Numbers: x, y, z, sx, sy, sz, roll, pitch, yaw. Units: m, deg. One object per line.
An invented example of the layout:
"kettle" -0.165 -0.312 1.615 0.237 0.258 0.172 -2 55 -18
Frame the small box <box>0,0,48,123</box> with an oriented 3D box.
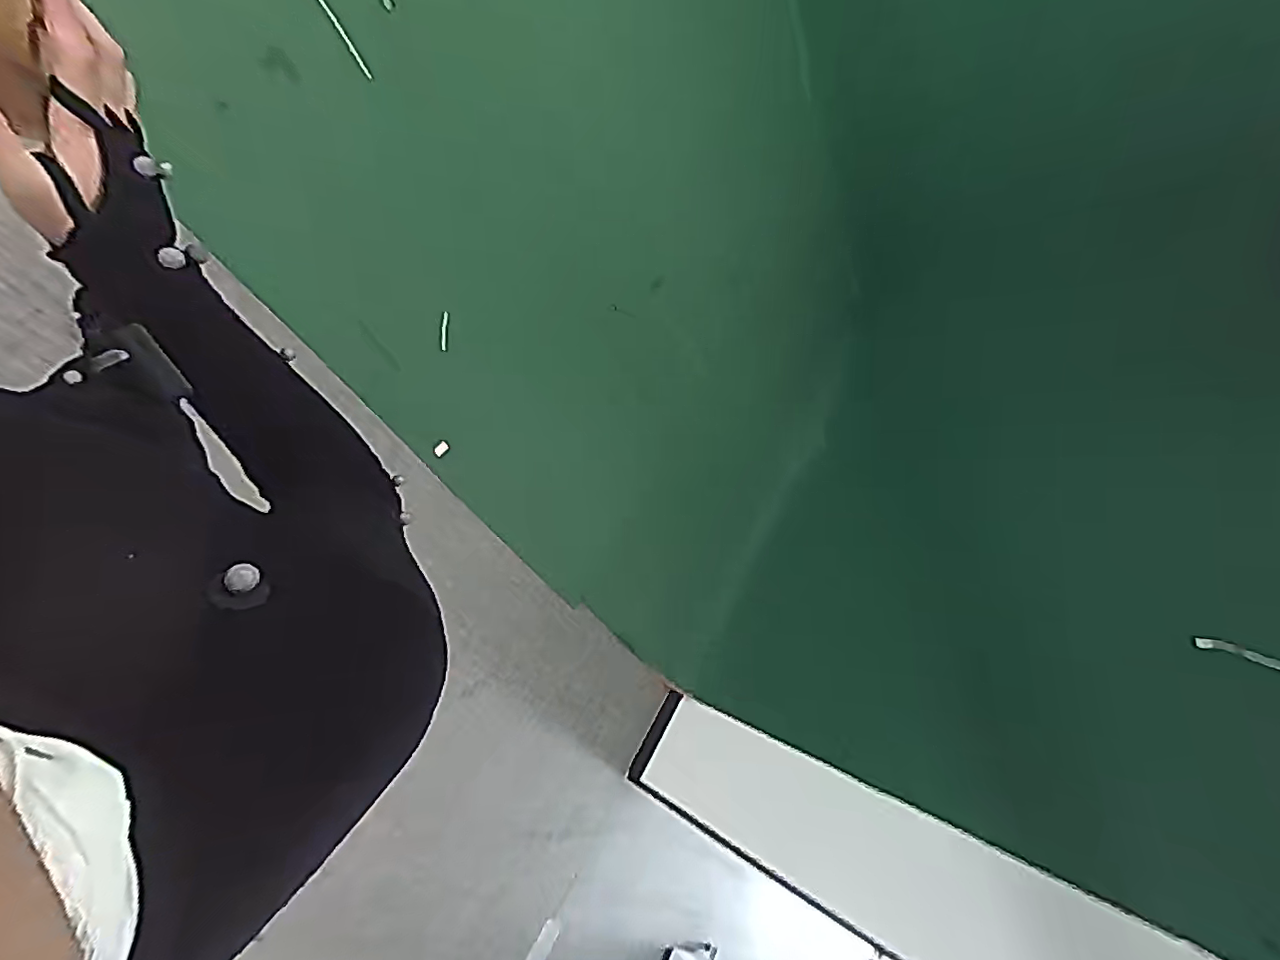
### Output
"small box" -0.442 -0.338 0.283 0.168 0.176 0.179 -4 87 -44
